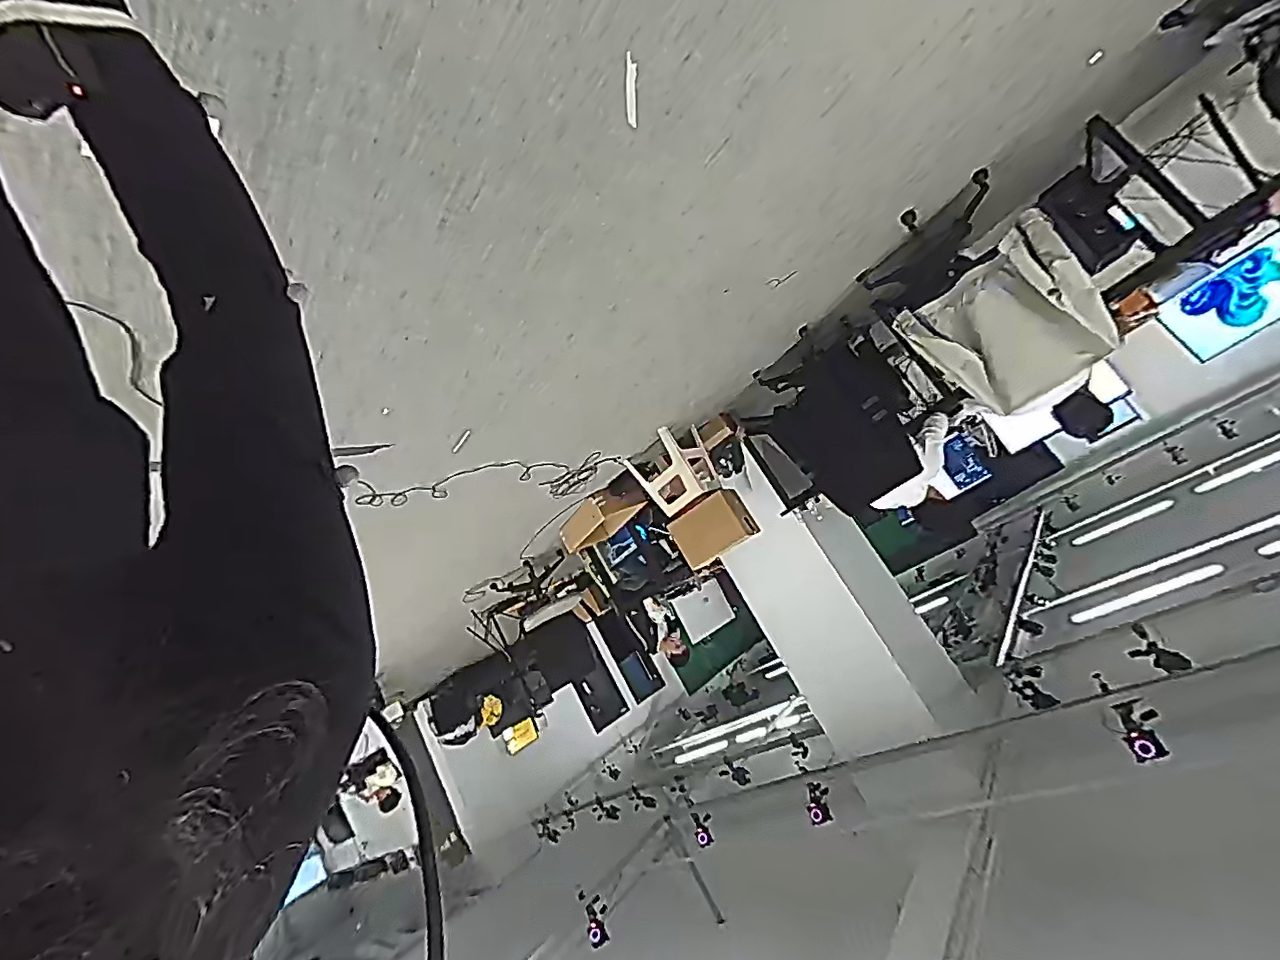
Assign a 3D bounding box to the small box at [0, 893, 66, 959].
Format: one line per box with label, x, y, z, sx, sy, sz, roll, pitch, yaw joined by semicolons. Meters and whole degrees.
small box;-1.731;1.282;1.479;0.179;0.176;0.168;-38;164;22
